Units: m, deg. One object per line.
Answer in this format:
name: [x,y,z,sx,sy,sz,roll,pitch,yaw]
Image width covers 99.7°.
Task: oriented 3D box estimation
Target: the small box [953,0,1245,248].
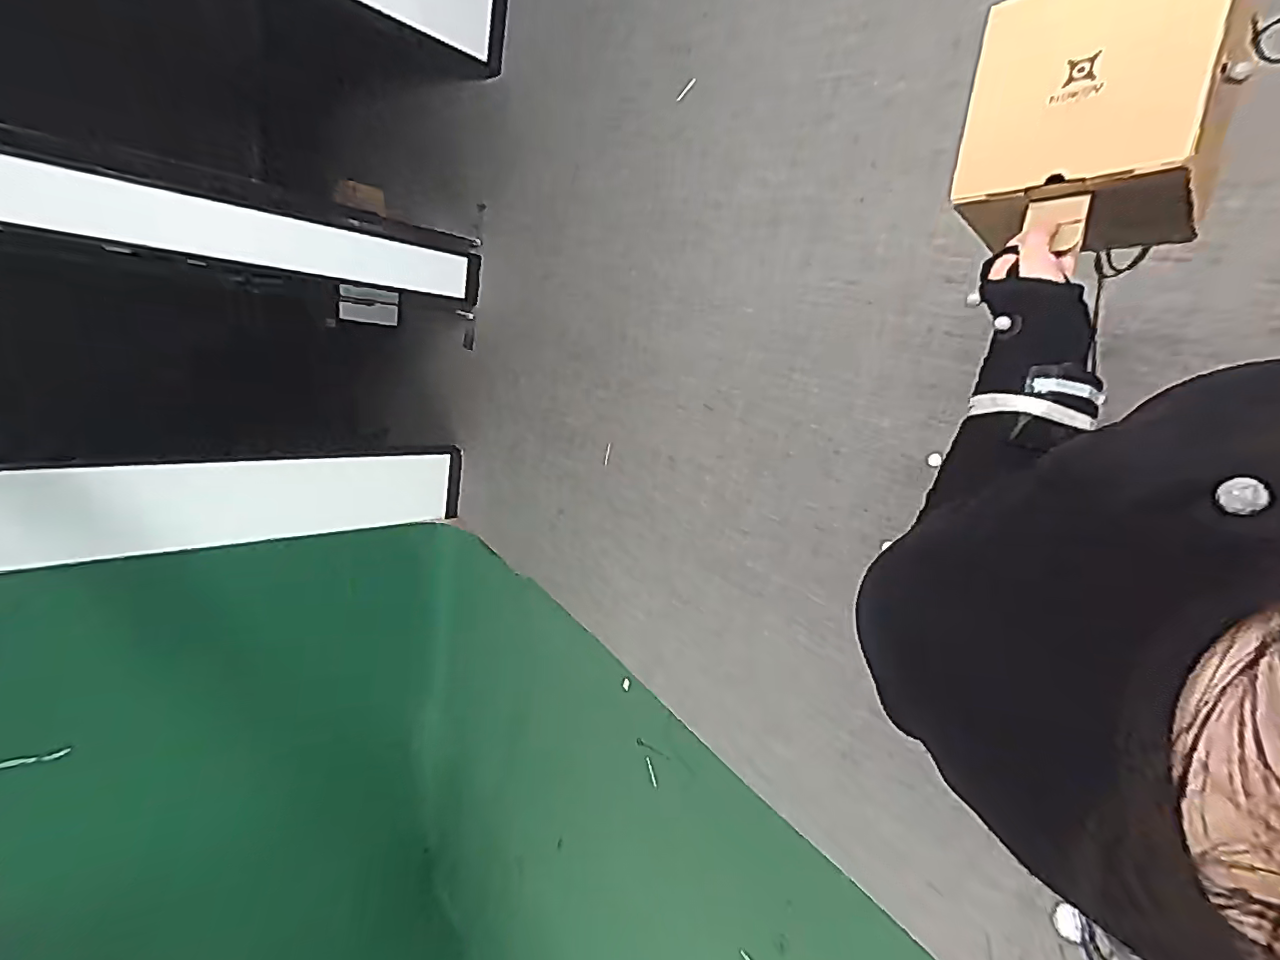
small box: [0.426,-0.340,0.506,0.168,0.176,0.179,16,100,46]
